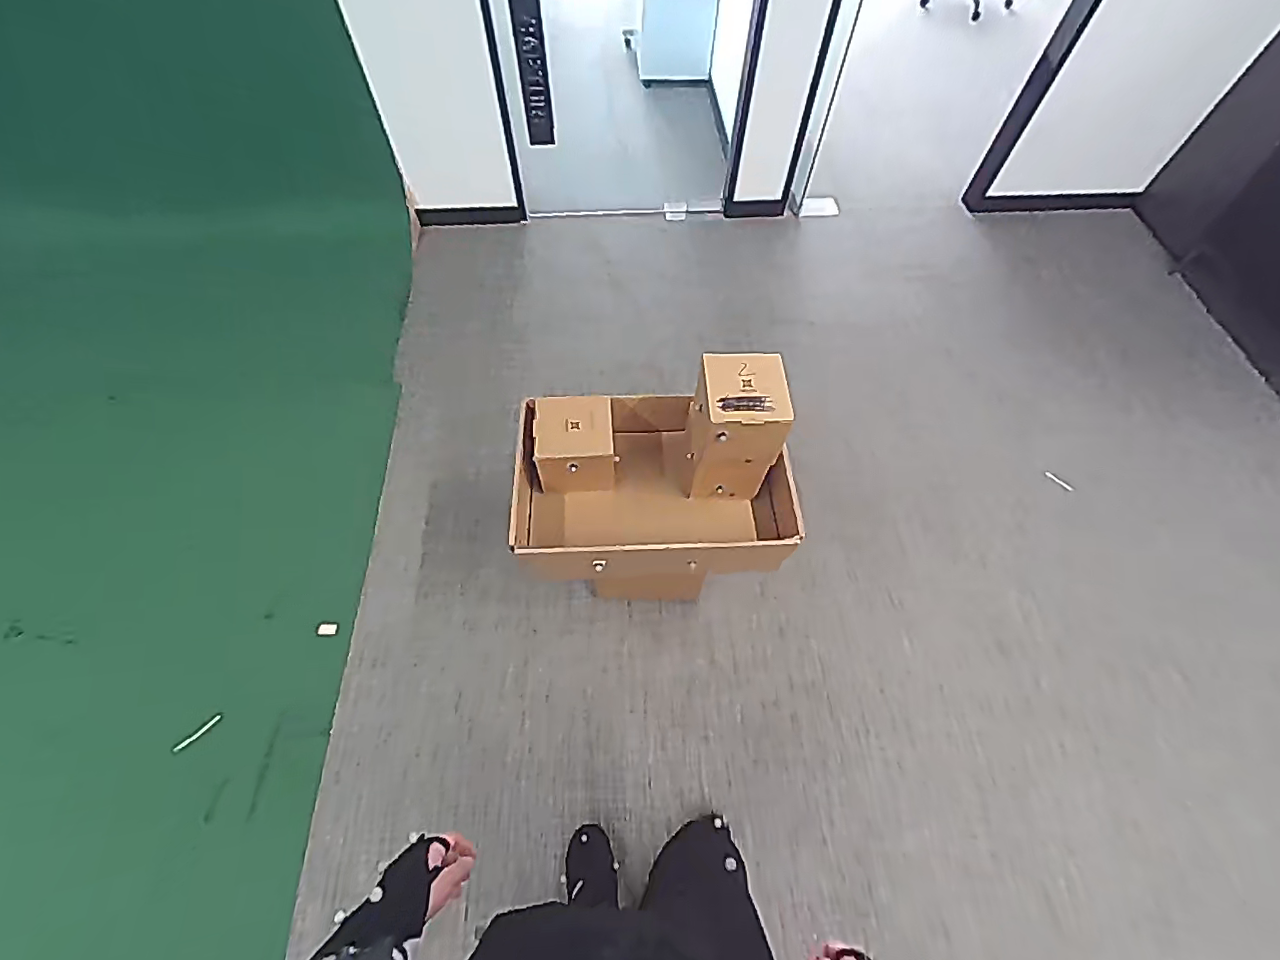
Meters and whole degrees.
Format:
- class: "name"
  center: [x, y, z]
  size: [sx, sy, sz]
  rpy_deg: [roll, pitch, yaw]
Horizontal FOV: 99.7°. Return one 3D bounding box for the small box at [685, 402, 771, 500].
- class: "small box"
  center: [0.201, -0.068, 1.290]
  size: [0.168, 0.176, 0.179]
  rpy_deg: [0, 61, -3]
